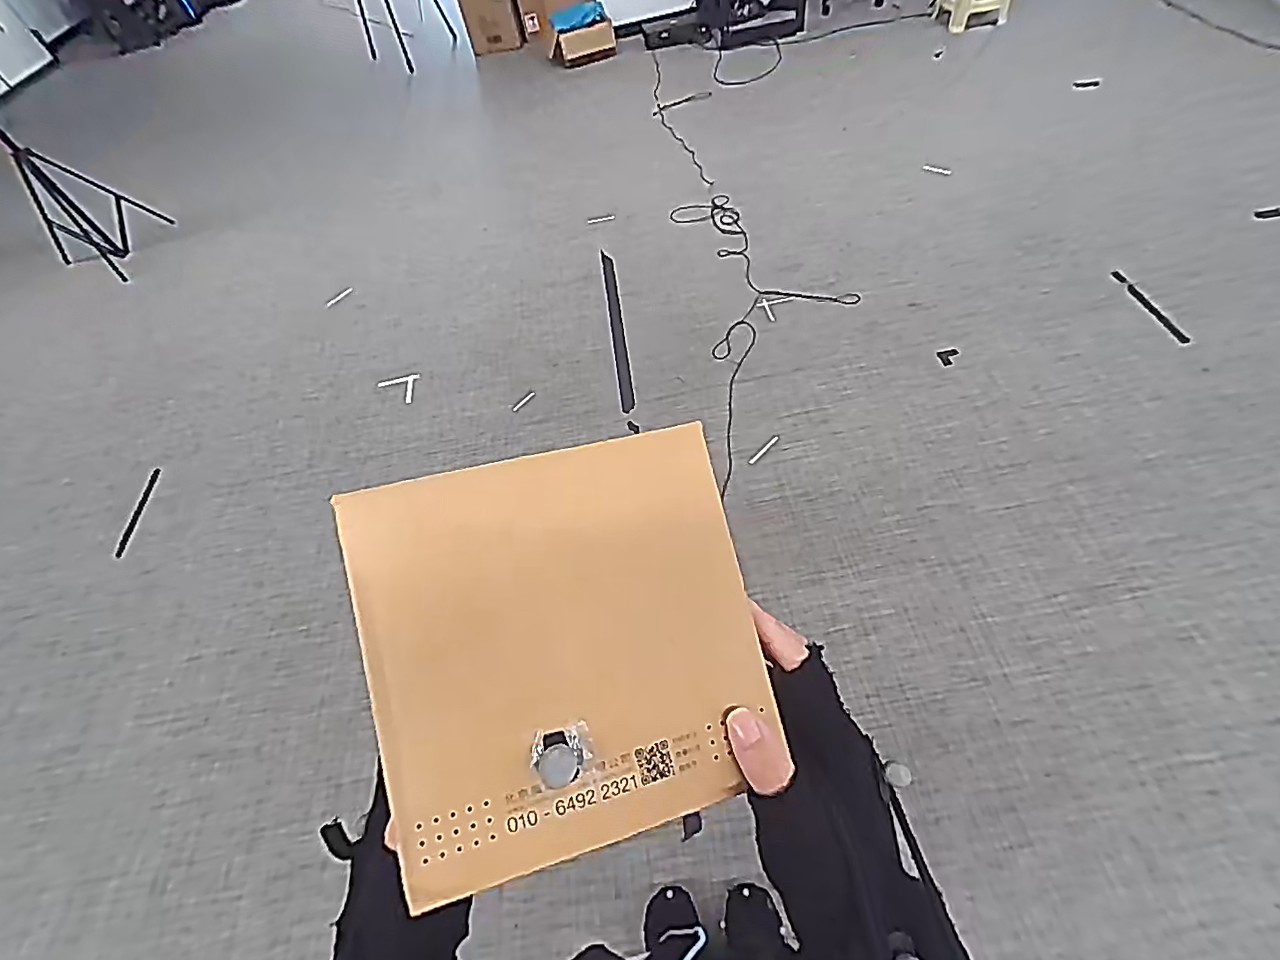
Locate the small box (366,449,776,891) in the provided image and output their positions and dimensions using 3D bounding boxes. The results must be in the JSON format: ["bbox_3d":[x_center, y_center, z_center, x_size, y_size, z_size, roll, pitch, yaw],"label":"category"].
[{"bbox_3d":[-0.042,0.094,0.328,0.168,0.179,0.176,-13,83,-13],"label":"small box"}]
